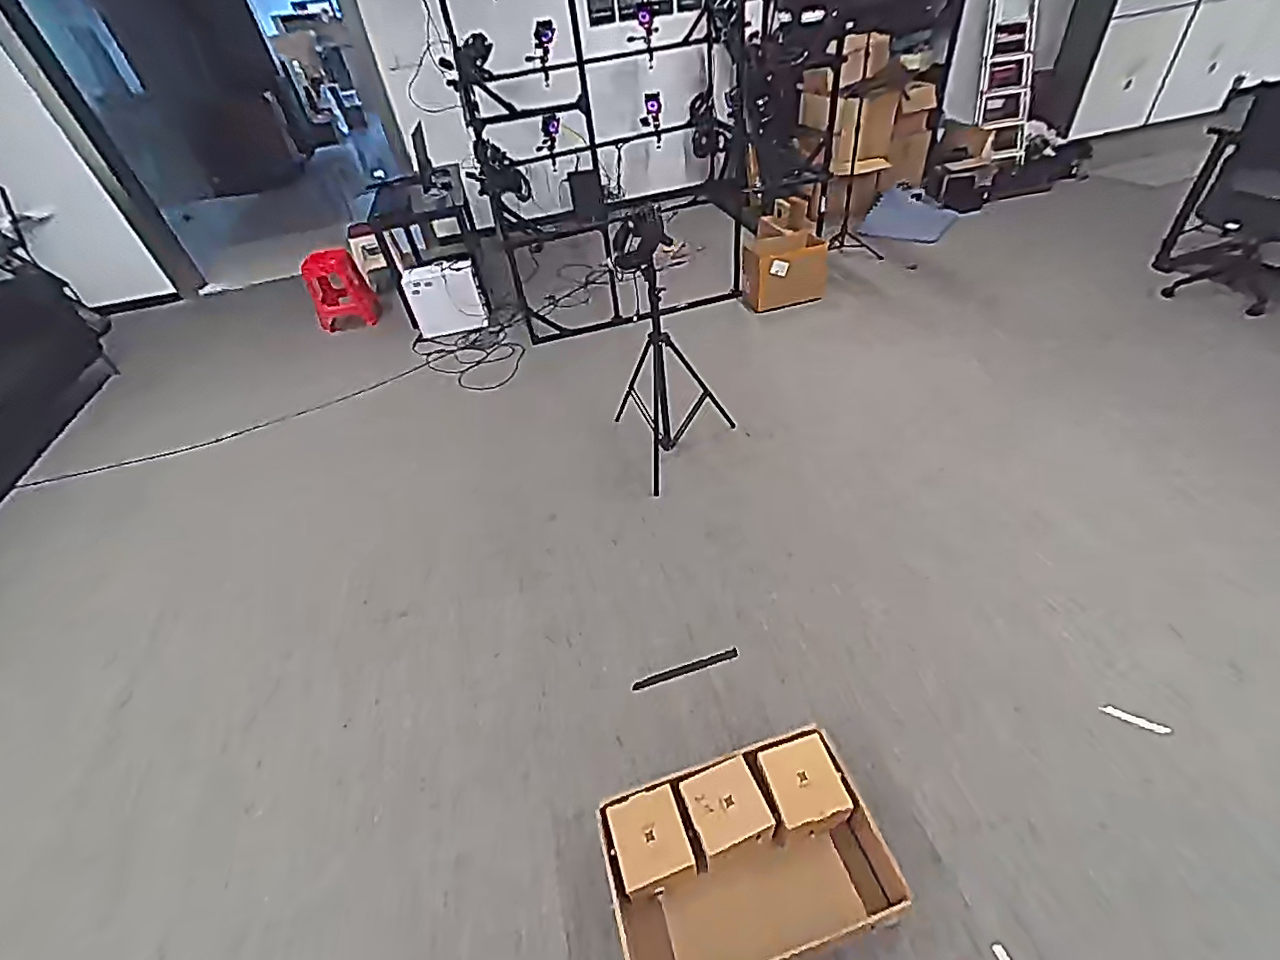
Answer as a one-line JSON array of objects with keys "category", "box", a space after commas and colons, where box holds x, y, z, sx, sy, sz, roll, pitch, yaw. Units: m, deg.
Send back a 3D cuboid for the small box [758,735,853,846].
[{"category": "small box", "box": [0.402, 0.777, 1.352, 0.168, 0.176, 0.179, -16, 46, -6]}]
